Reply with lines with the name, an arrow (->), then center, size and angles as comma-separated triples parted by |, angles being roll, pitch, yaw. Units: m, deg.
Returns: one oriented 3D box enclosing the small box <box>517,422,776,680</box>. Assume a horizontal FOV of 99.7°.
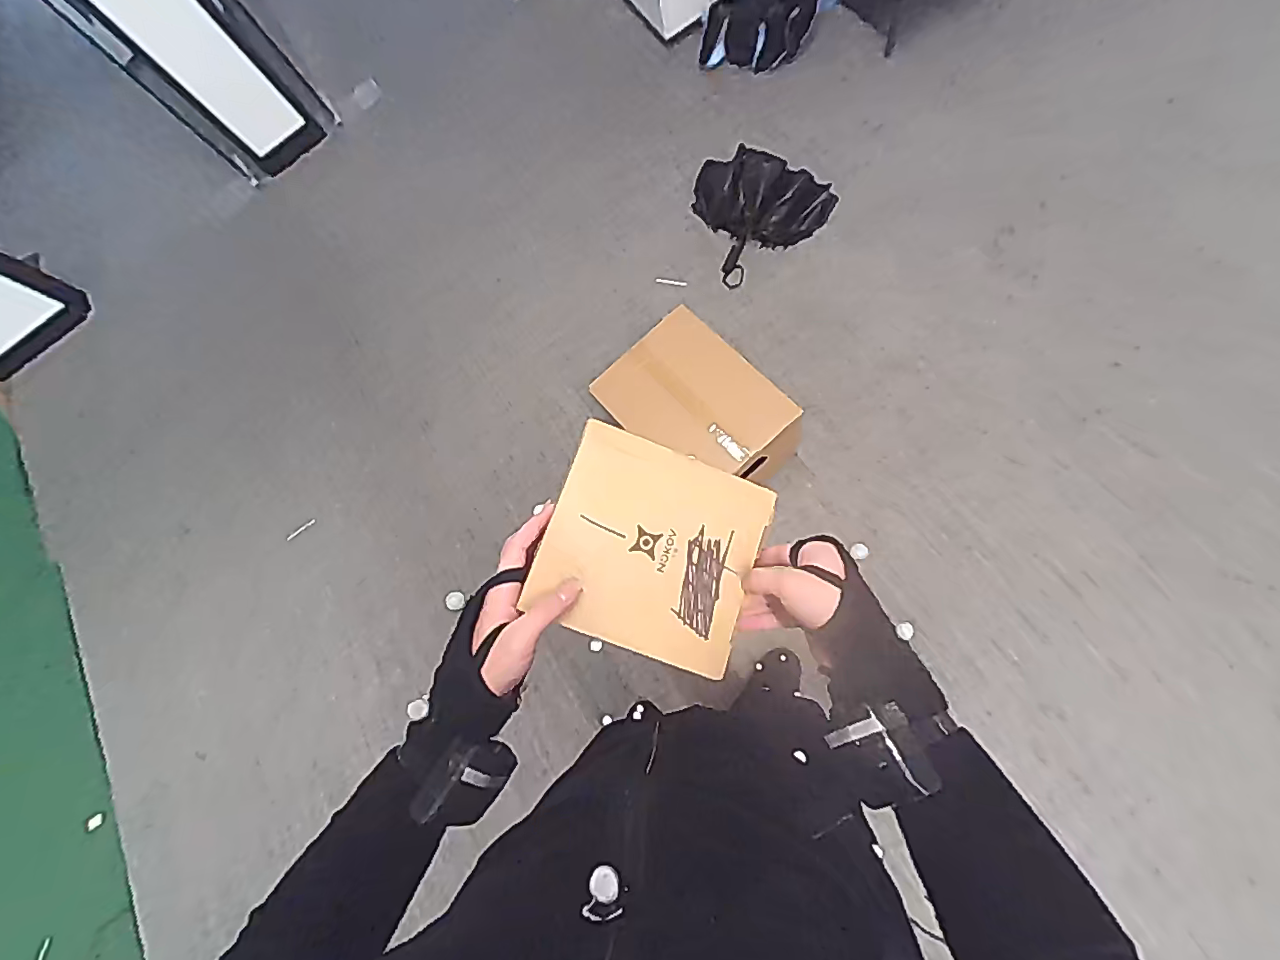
small box -> -0.004, 0.068, 0.516 | 0.179, 0.176, 0.168 | 22, 77, -7
